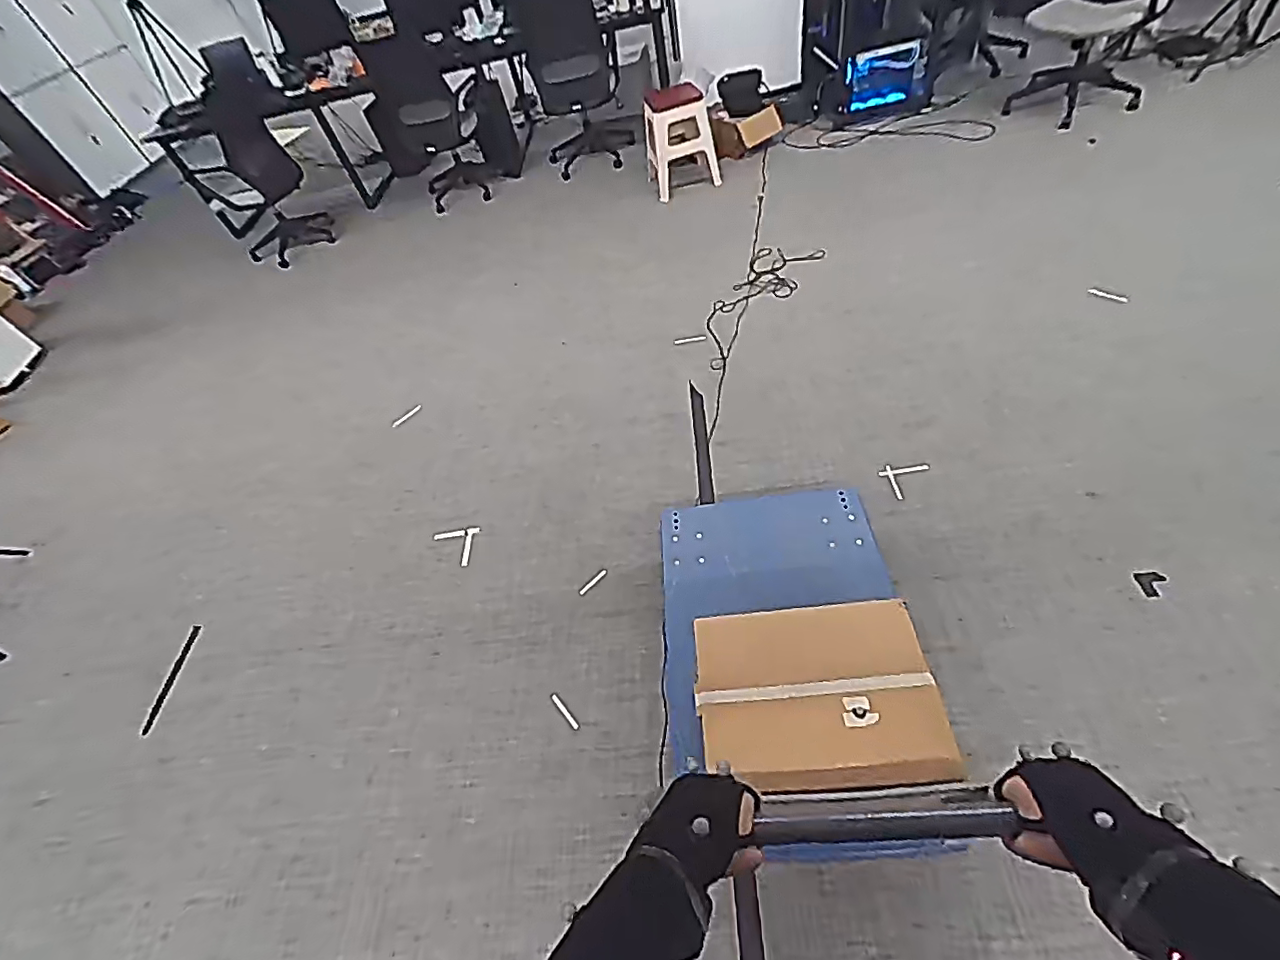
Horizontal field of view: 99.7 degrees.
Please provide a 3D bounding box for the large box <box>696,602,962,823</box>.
[{"bbox_3d":[0.338,0.475,1.085,0.408,0.320,0.320,-8,51,7],"label":"large box"}]
